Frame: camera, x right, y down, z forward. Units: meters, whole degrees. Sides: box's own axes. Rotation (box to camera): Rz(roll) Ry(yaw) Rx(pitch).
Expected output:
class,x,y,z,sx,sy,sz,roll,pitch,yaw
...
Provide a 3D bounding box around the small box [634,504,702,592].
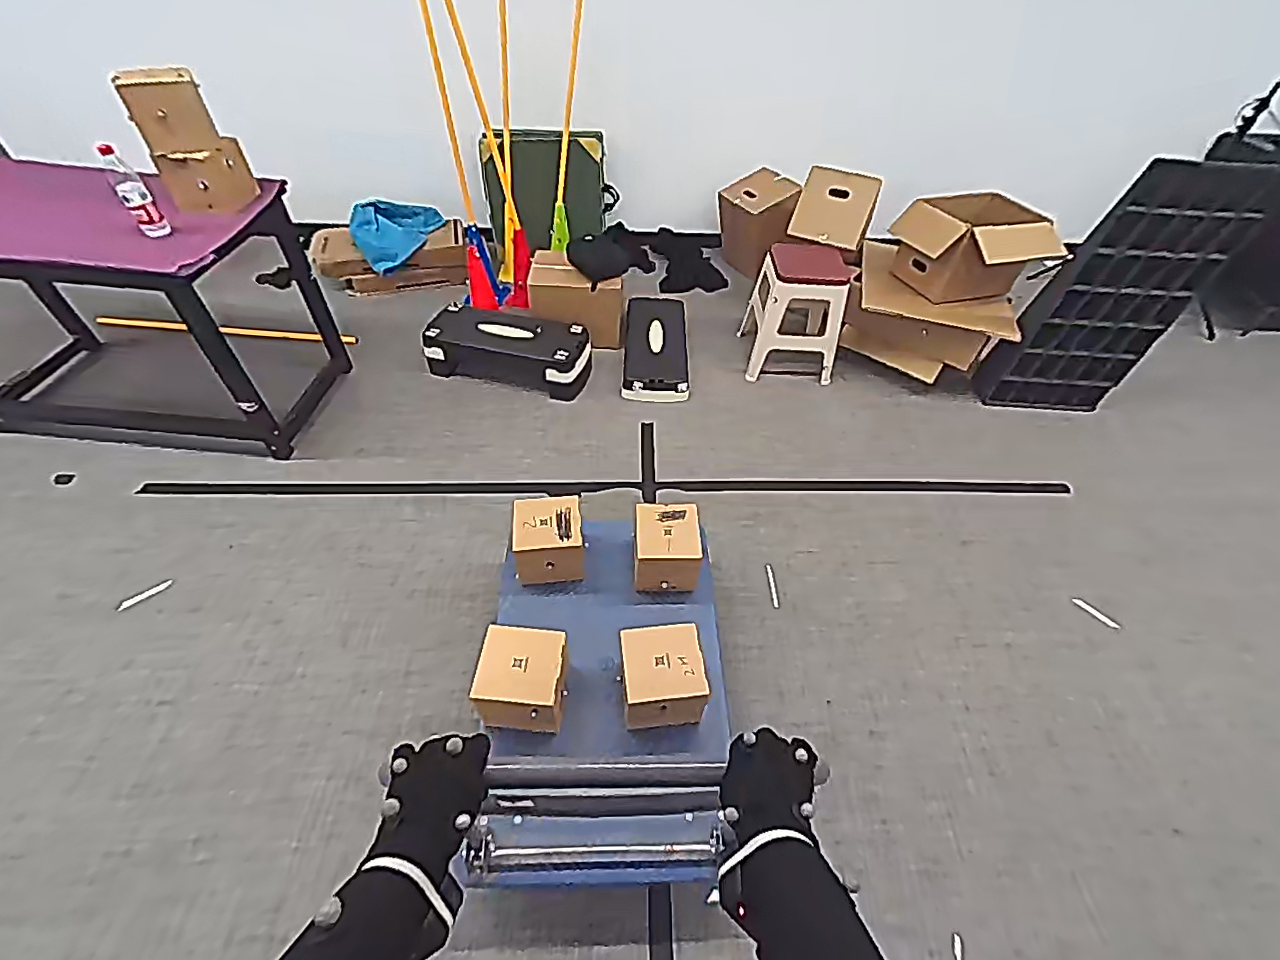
class,x,y,z,sx,sy,sz,roll,pitch,yaw
small box,0.070,0.185,1.469,0.168,0.176,0.179,1,50,-3

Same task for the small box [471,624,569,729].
class,x,y,z,sx,sy,sz,roll,pitch,yaw
small box,-0.261,0.445,1.218,0.179,0.176,0.168,6,48,0

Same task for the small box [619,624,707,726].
class,x,y,z,sx,sy,sz,roll,pitch,yaw
small box,0.046,0.447,1.234,0.179,0.176,0.168,-3,49,-6
